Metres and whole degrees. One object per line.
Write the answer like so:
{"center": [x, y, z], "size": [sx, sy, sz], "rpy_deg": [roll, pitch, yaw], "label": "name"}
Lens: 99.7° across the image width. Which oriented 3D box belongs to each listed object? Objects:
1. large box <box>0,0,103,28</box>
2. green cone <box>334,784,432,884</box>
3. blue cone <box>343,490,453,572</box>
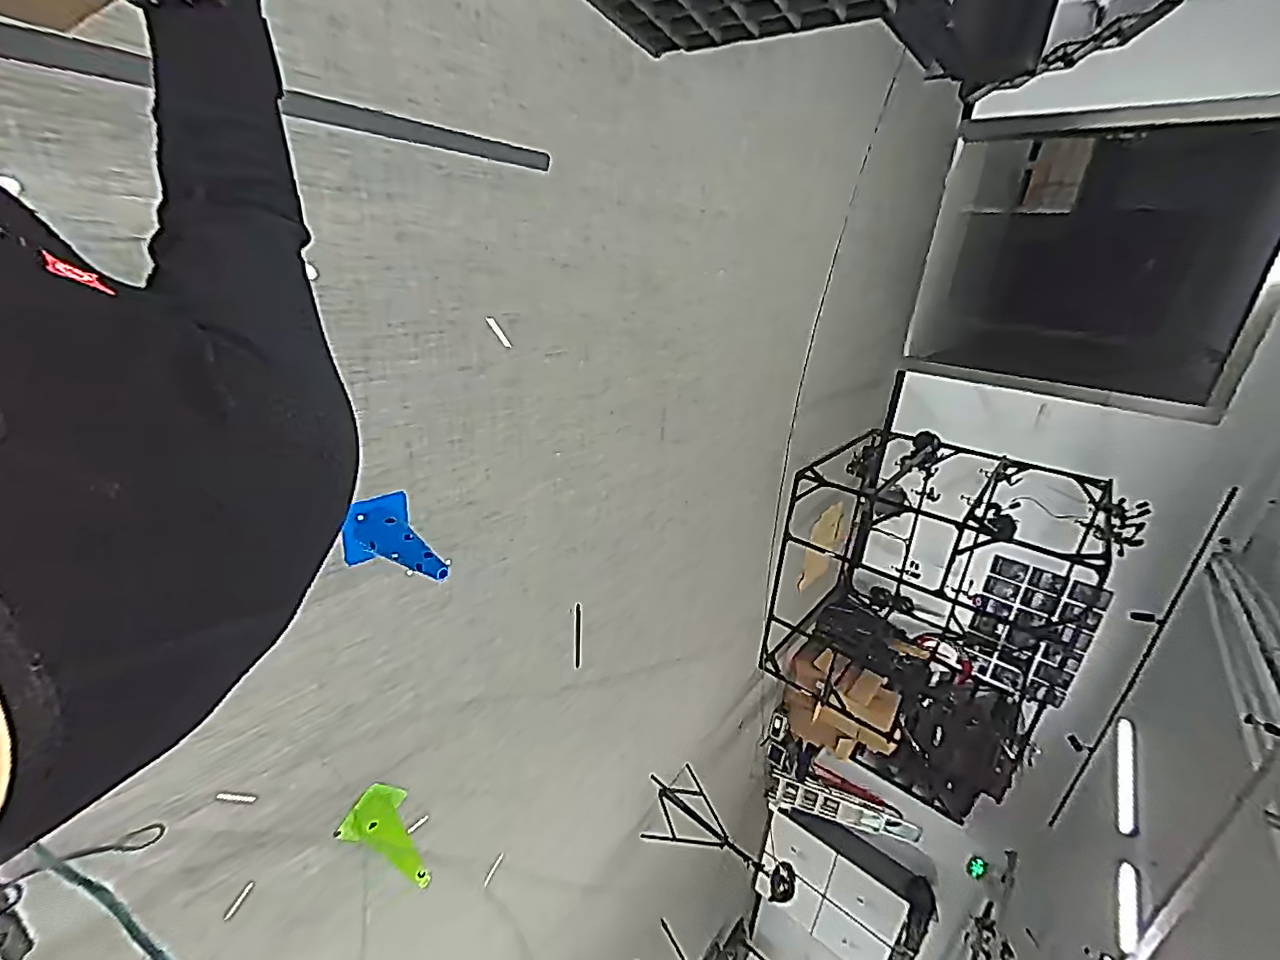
{"center": [-0.528, -0.464, 0.220], "size": [0.408, 0.320, 0.320], "rpy_deg": [-20, 126, -49], "label": "large box"}
{"center": [-0.842, 1.260, 1.867], "size": [0.202, 0.368, 0.200], "rpy_deg": [-56, 145, -21], "label": "green cone"}
{"center": [-0.676, 0.183, 1.559], "size": [0.192, 0.380, 0.193], "rpy_deg": [-19, 122, -50], "label": "blue cone"}
